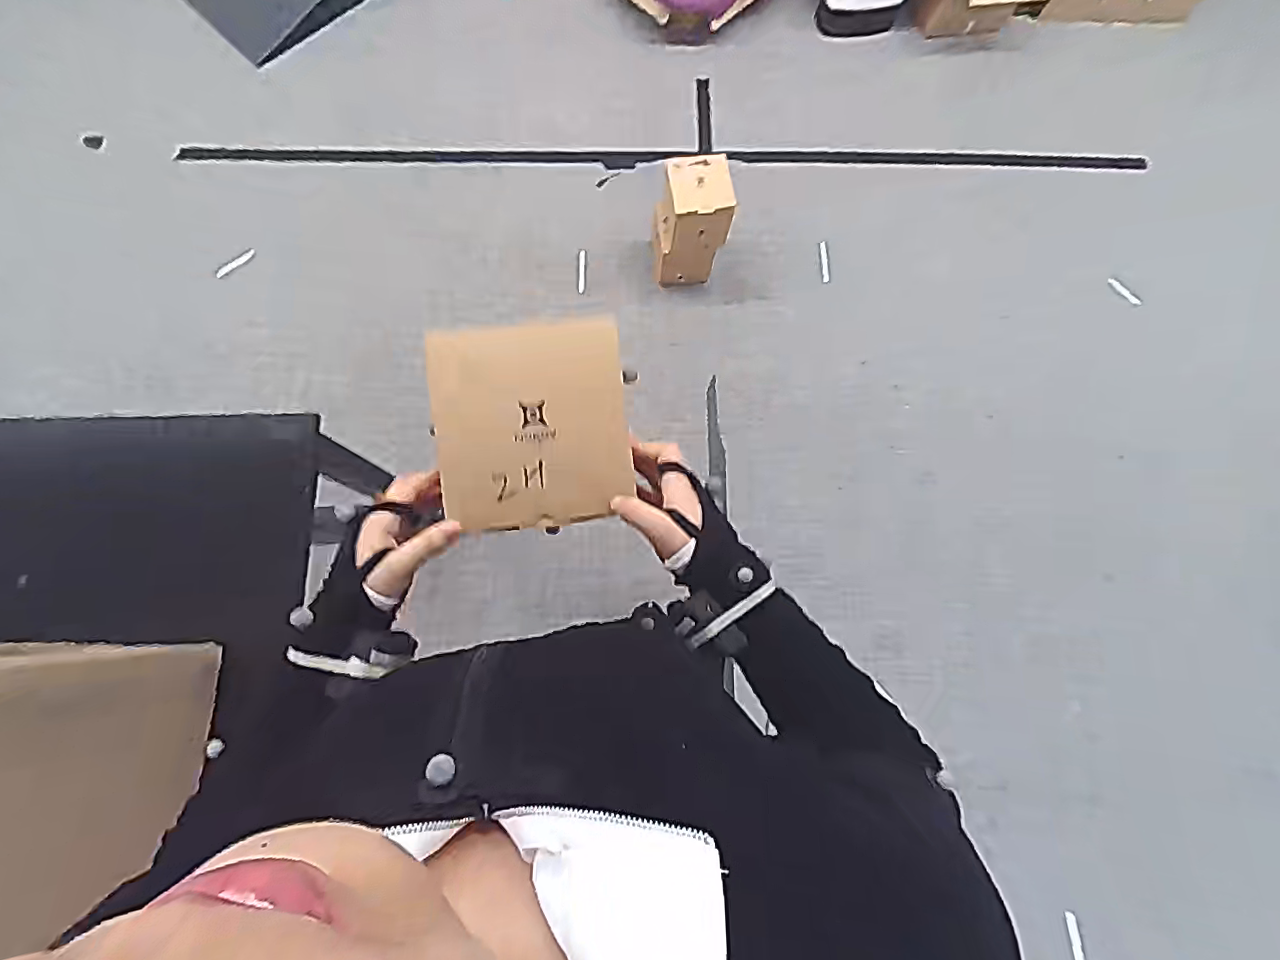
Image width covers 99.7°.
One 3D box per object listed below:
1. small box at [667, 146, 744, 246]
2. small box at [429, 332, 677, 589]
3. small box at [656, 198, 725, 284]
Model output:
[{"bbox_3d":[0.169,-0.748,1.446,0.168,0.176,0.179,-8,77,-4],"label":"small box"},{"bbox_3d":[-0.070,-0.012,0.469,0.168,0.176,0.179,-7,89,-6],"label":"small box"},{"bbox_3d":[0.144,-0.710,1.605,0.168,0.176,0.179,-7,78,-4],"label":"small box"}]
